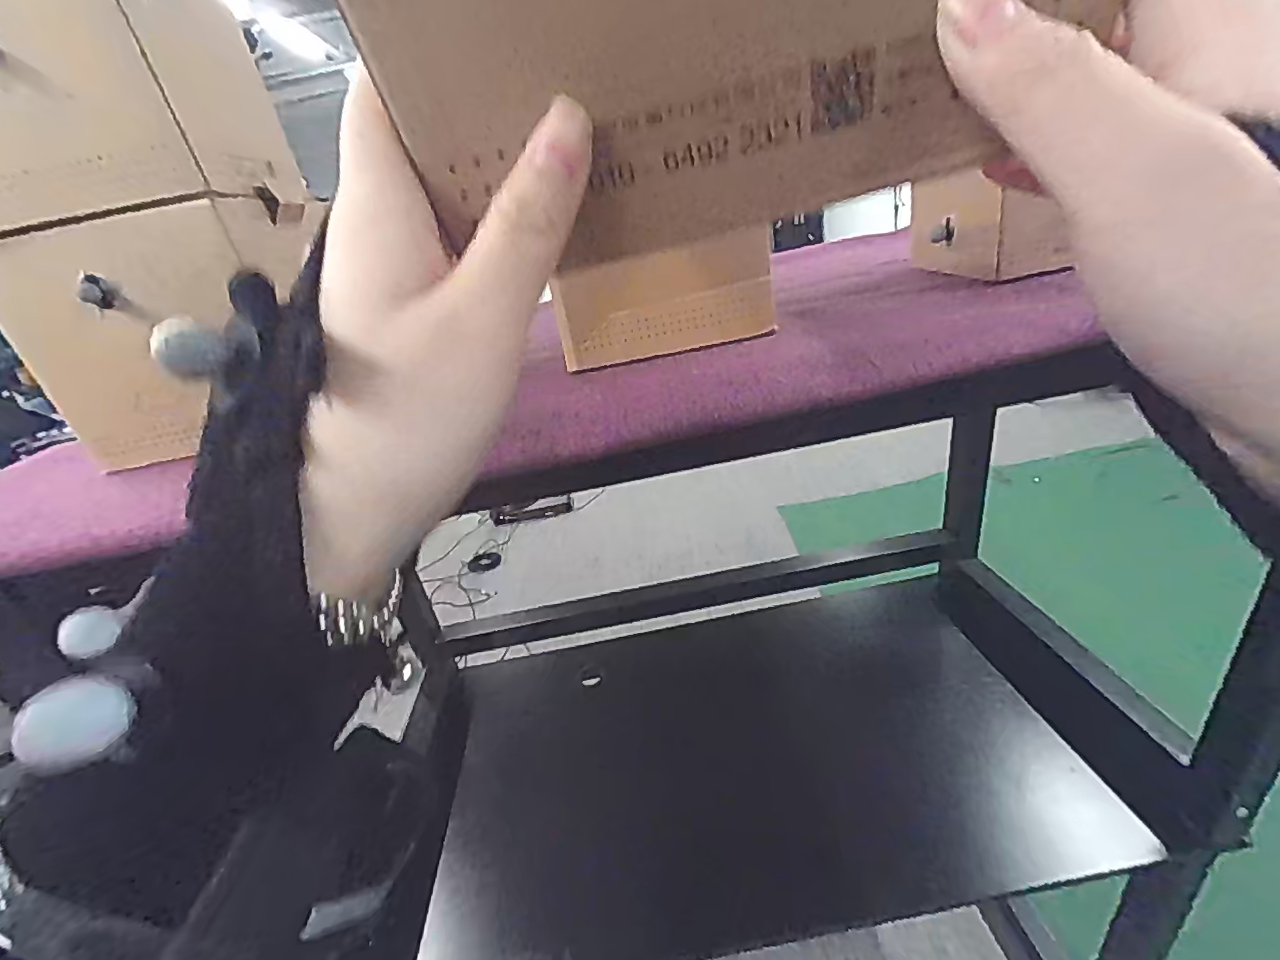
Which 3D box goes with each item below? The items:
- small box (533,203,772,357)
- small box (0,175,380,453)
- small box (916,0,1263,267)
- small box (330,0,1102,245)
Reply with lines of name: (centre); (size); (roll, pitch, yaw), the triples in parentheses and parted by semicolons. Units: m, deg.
small box: (0.002, -0.212, 0.464); (0.179, 0.176, 0.168); (-11, 25, 0)
small box: (-0.352, -0.136, 0.444); (0.179, 0.176, 0.168); (-11, 28, -1)
small box: (0.356, -0.289, 0.465); (0.168, 0.176, 0.179); (-10, 25, 7)
small box: (0.007, -0.180, 0.141); (0.168, 0.176, 0.179); (-11, 44, 6)
